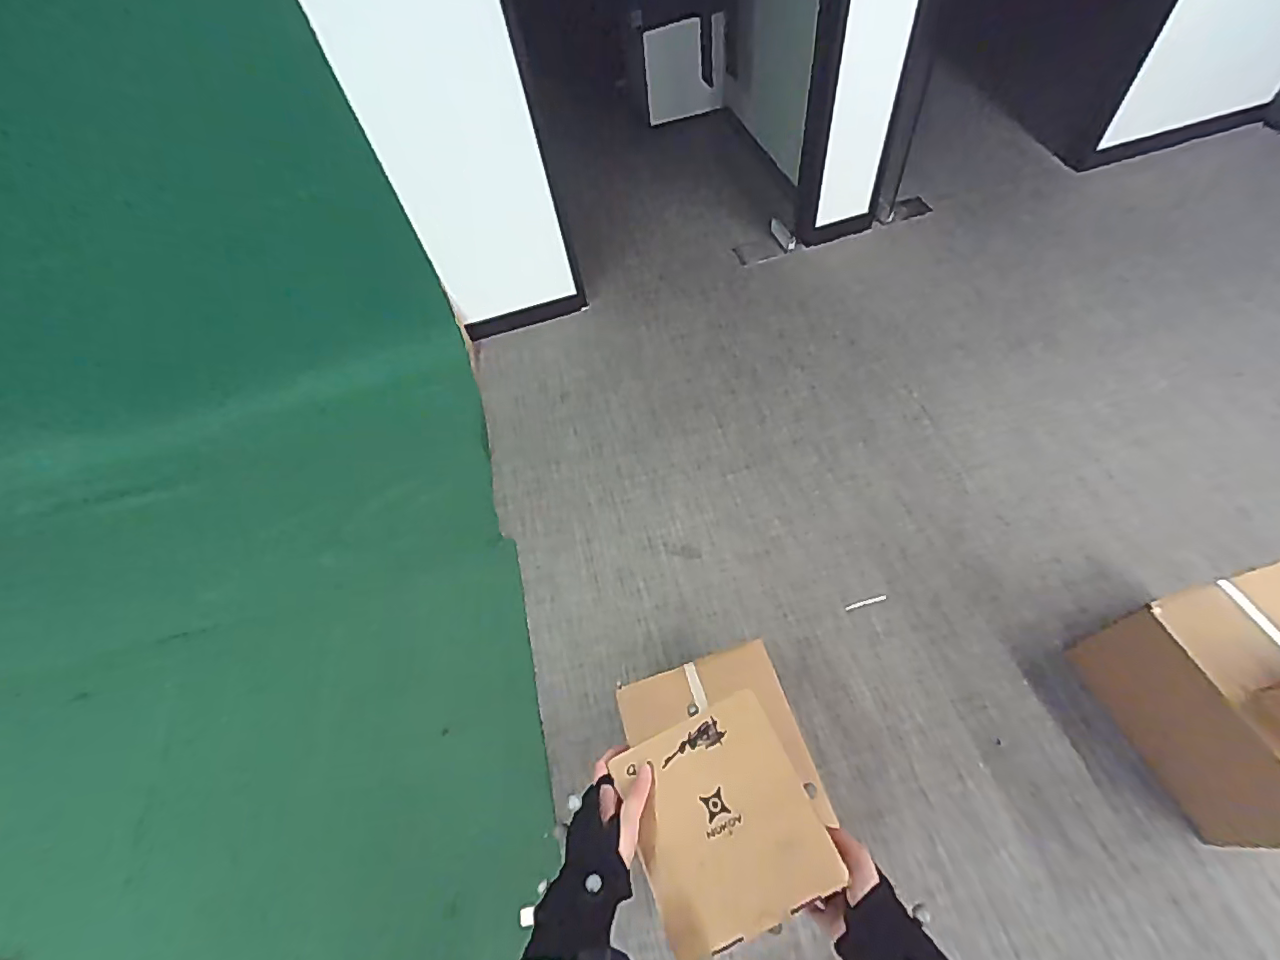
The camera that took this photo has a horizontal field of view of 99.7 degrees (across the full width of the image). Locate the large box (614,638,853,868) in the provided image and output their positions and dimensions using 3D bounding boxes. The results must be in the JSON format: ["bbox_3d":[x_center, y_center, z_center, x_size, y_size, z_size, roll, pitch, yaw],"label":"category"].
[{"bbox_3d":[0.170,0.599,1.098,0.320,0.320,0.408,-17,56,-3],"label":"large box"}]

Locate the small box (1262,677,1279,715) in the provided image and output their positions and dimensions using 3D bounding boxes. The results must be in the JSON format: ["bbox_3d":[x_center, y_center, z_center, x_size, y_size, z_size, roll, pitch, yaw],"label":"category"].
[{"bbox_3d":[1.151,0.350,0.824,0.179,0.176,0.168,-19,57,-3],"label":"small box"}]

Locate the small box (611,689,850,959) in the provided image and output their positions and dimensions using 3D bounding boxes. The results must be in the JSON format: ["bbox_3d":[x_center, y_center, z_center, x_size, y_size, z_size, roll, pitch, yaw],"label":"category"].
[{"bbox_3d":[0.093,0.348,0.567,0.168,0.176,0.179,-26,57,-2],"label":"small box"}]
